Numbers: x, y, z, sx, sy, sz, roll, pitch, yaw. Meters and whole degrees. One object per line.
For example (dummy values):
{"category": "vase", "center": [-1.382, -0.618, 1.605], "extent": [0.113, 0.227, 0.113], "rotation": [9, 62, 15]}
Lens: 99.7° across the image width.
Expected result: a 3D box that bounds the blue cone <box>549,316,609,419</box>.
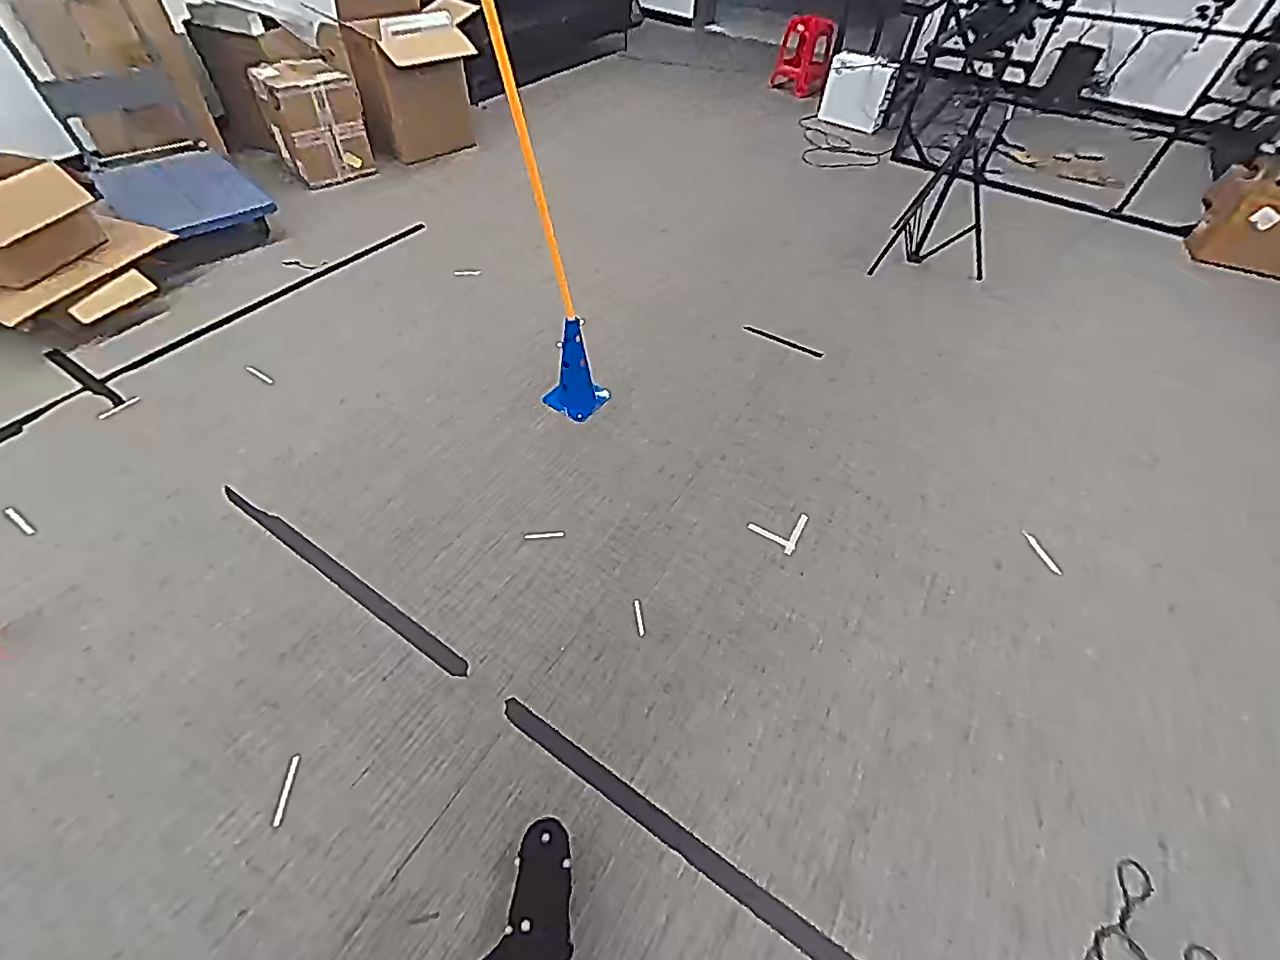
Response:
{"category": "blue cone", "center": [-0.227, -0.423, 1.947], "extent": [0.192, 0.380, 0.193], "rotation": [31, 56, 20]}
